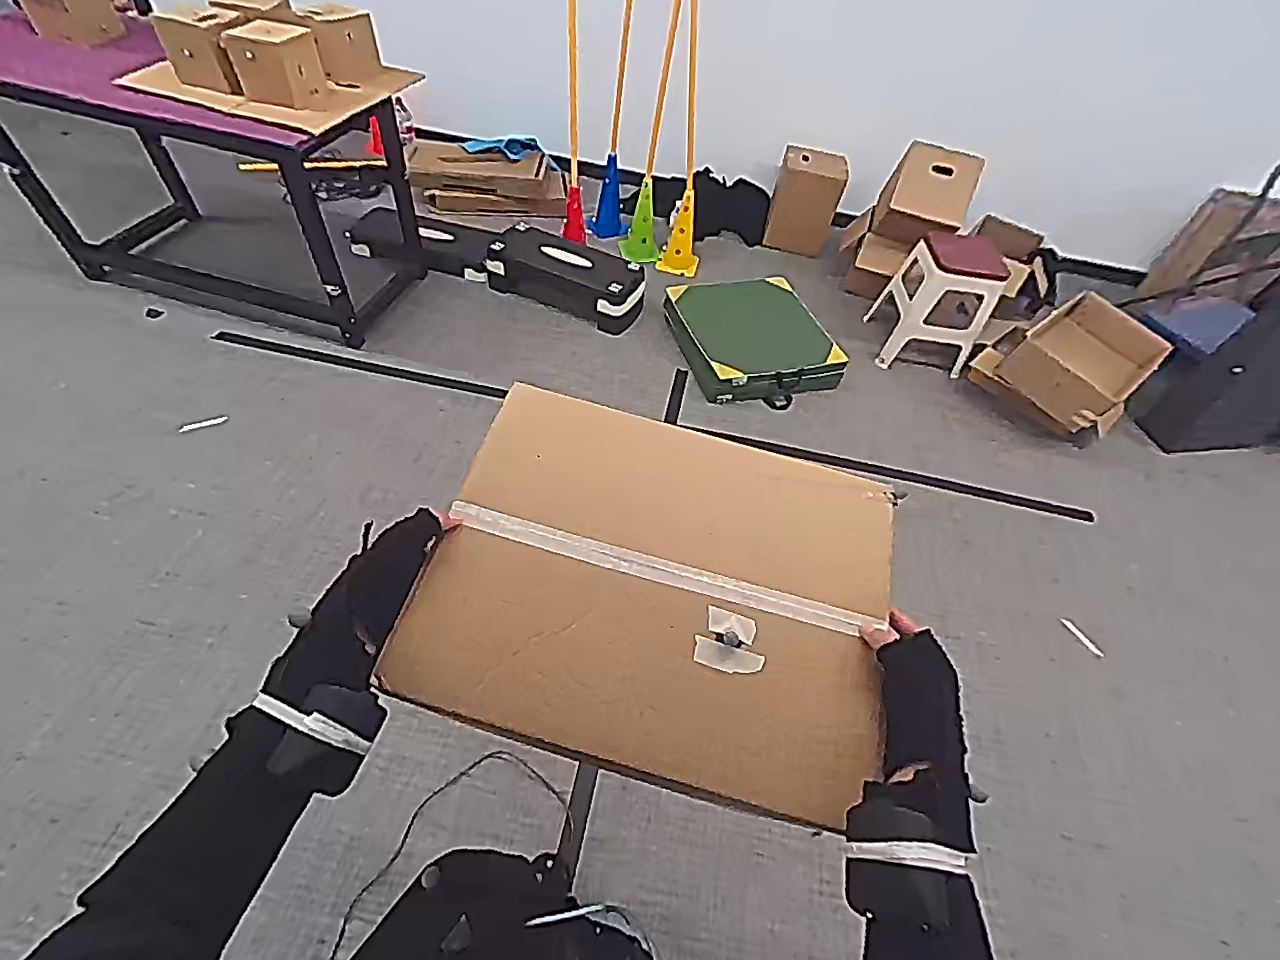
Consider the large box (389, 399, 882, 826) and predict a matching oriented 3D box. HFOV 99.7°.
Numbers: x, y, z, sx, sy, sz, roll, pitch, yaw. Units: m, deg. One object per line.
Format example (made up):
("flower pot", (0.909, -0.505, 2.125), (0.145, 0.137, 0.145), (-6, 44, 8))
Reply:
("large box", (0.008, 0.160, 0.624), (0.408, 0.320, 0.320), (16, 62, 2))
